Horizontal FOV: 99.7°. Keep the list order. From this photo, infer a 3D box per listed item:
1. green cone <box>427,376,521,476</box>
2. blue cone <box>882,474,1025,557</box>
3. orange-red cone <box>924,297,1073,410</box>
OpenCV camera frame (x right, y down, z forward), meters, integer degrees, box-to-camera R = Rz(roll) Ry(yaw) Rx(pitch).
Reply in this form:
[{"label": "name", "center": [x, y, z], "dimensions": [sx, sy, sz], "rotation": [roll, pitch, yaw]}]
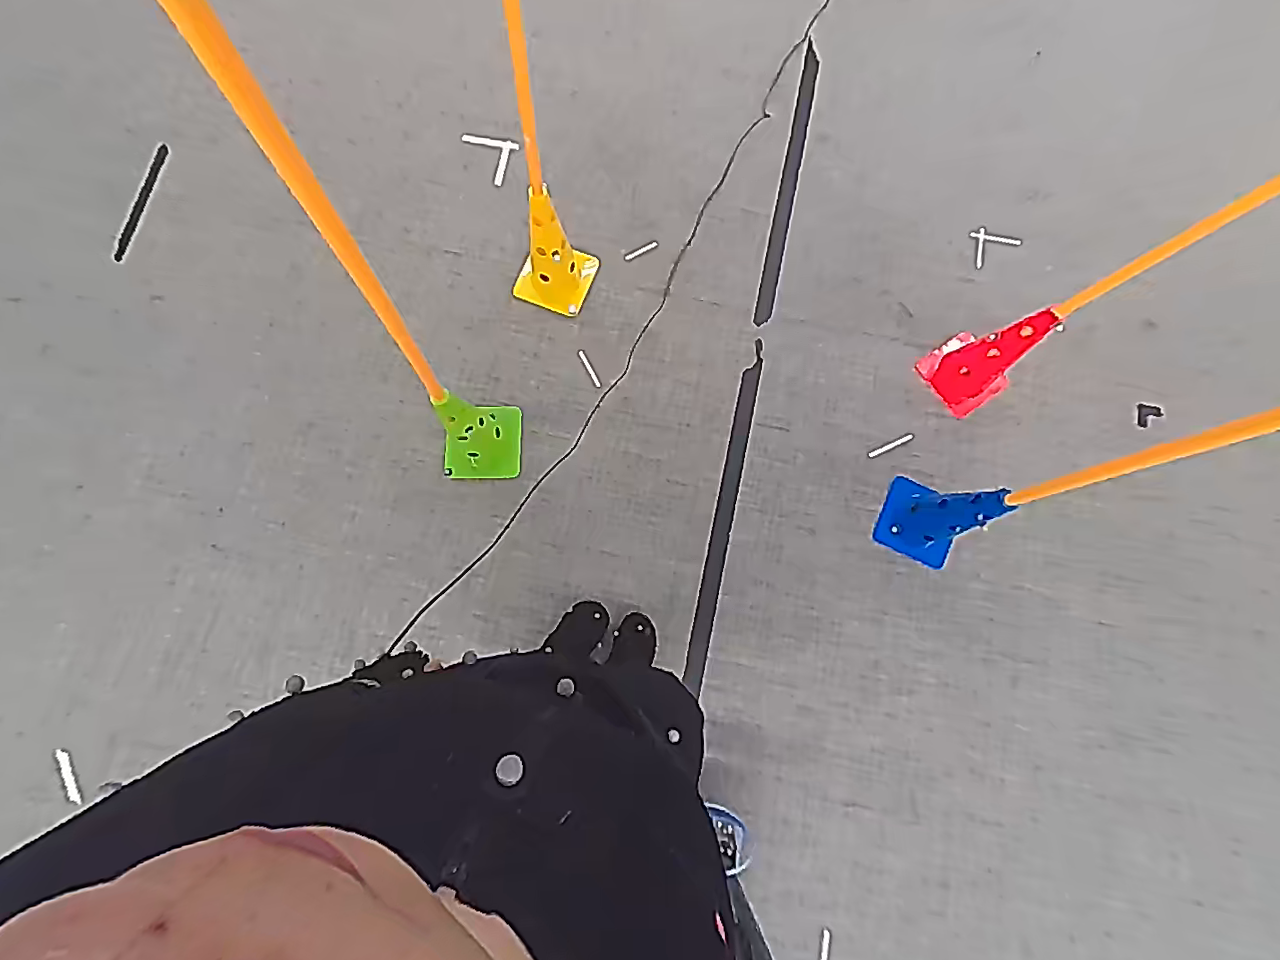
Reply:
[{"label": "green cone", "center": [-0.411, -0.148, 1.266], "dimensions": [0.200, 0.368, 0.202], "rotation": [-1, 77, -2]}, {"label": "blue cone", "center": [0.752, 0.059, 1.270], "dimensions": [0.193, 0.380, 0.192], "rotation": [27, 78, 4]}, {"label": "orange-red cone", "center": [0.920, -0.345, 1.344], "dimensions": [0.199, 0.360, 0.198], "rotation": [-32, 80, -6]}]
